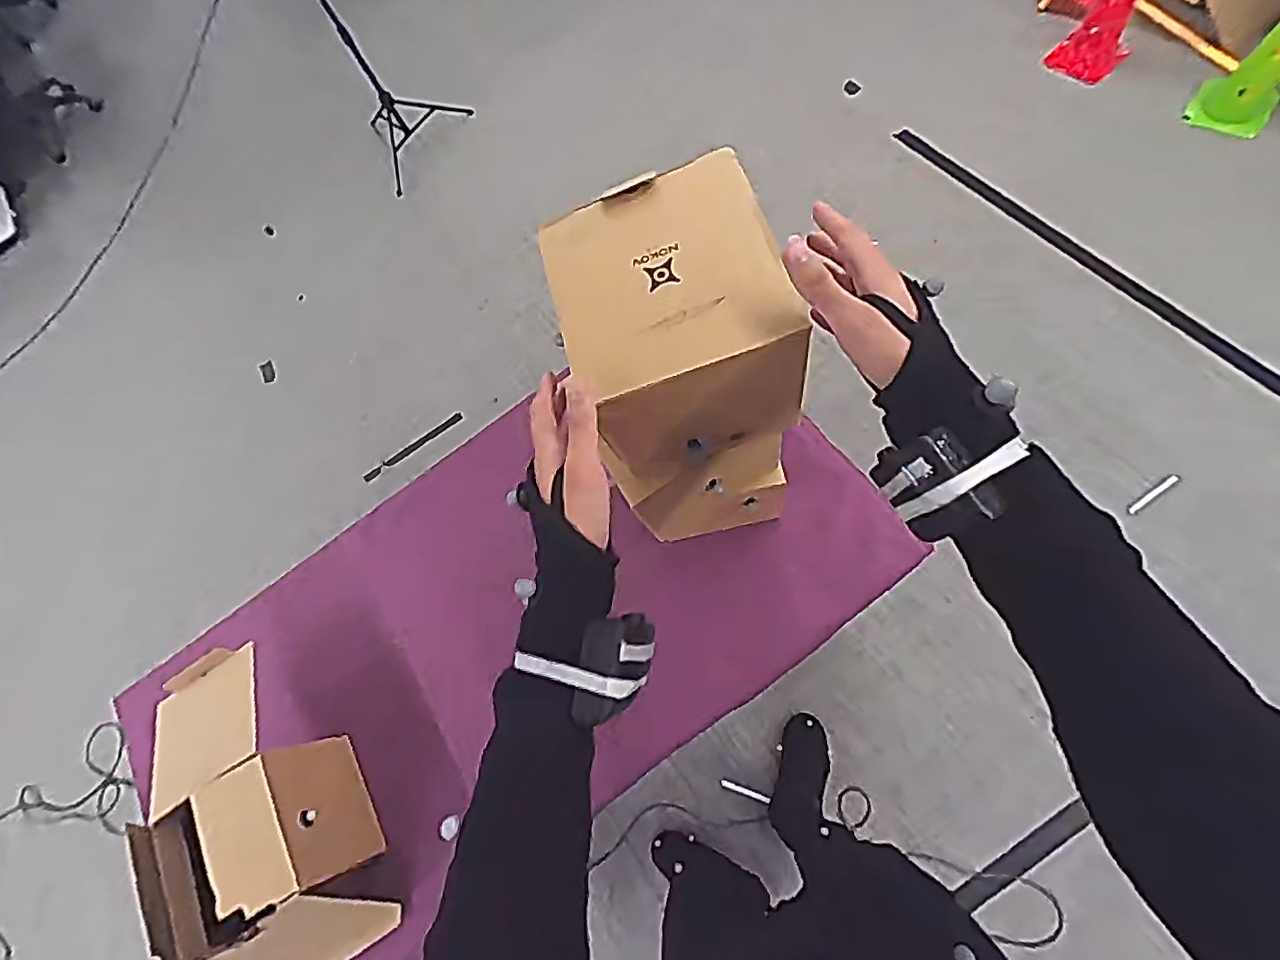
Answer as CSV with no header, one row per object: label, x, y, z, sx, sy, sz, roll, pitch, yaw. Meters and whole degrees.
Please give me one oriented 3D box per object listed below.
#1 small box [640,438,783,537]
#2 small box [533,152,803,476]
small box,0.094,-0.027,0.772,0.179,0.176,0.168,-13,69,8
small box,0.028,-0.125,0.466,0.168,0.176,0.179,-18,70,8
